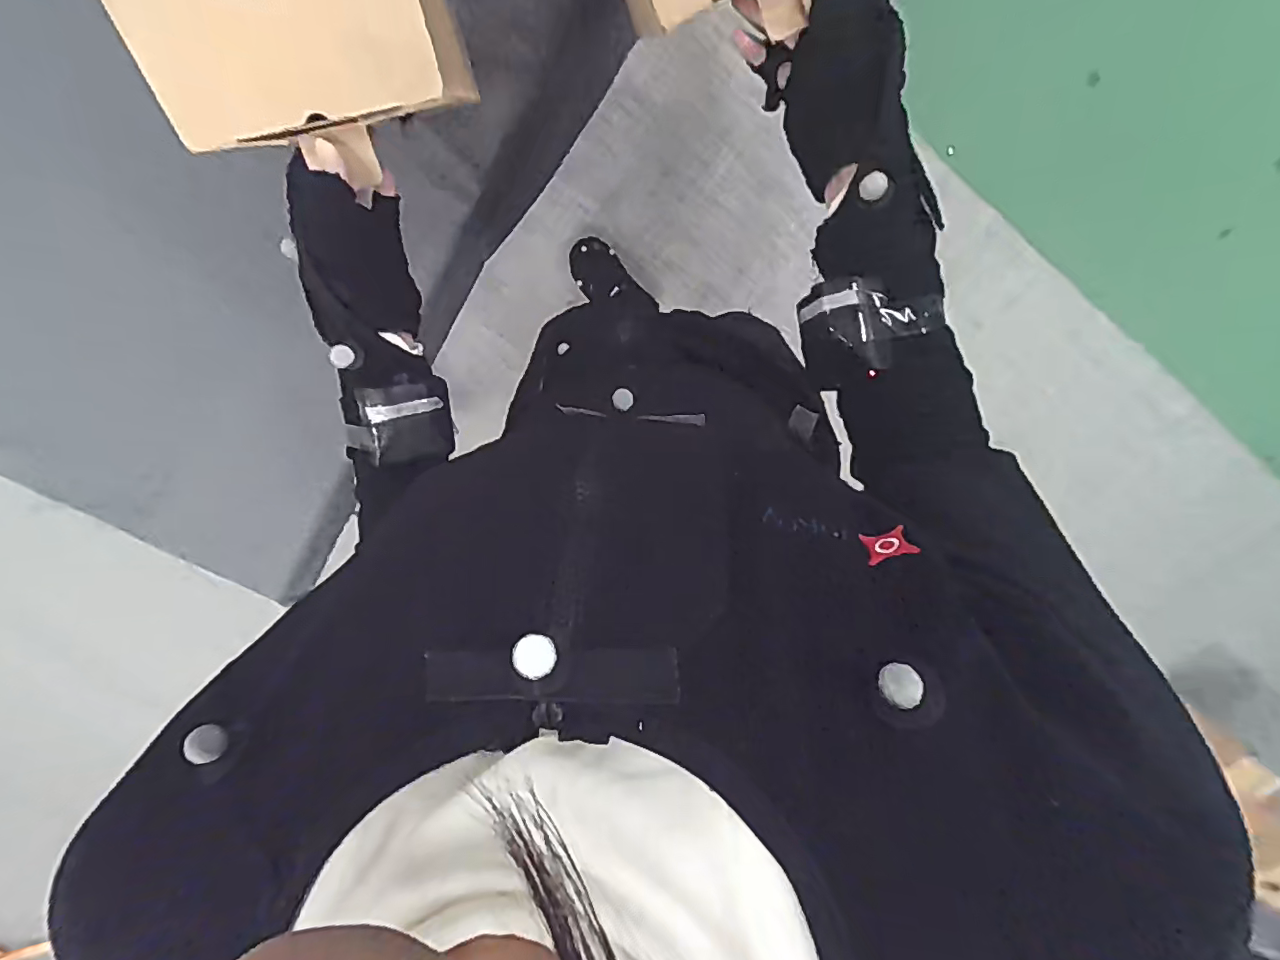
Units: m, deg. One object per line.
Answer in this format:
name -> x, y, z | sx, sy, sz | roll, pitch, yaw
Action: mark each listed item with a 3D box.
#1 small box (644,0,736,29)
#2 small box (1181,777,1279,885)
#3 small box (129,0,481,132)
small box -> 0.054, -0.407, 0.312 | 0.168, 0.176, 0.179 | -21, 130, 11
small box -> 1.727, 1.001, 1.551 | 0.168, 0.176, 0.179 | 39, 108, -13
small box -> -0.211, -0.343, 0.346 | 0.168, 0.176, 0.179 | -12, 126, -2
